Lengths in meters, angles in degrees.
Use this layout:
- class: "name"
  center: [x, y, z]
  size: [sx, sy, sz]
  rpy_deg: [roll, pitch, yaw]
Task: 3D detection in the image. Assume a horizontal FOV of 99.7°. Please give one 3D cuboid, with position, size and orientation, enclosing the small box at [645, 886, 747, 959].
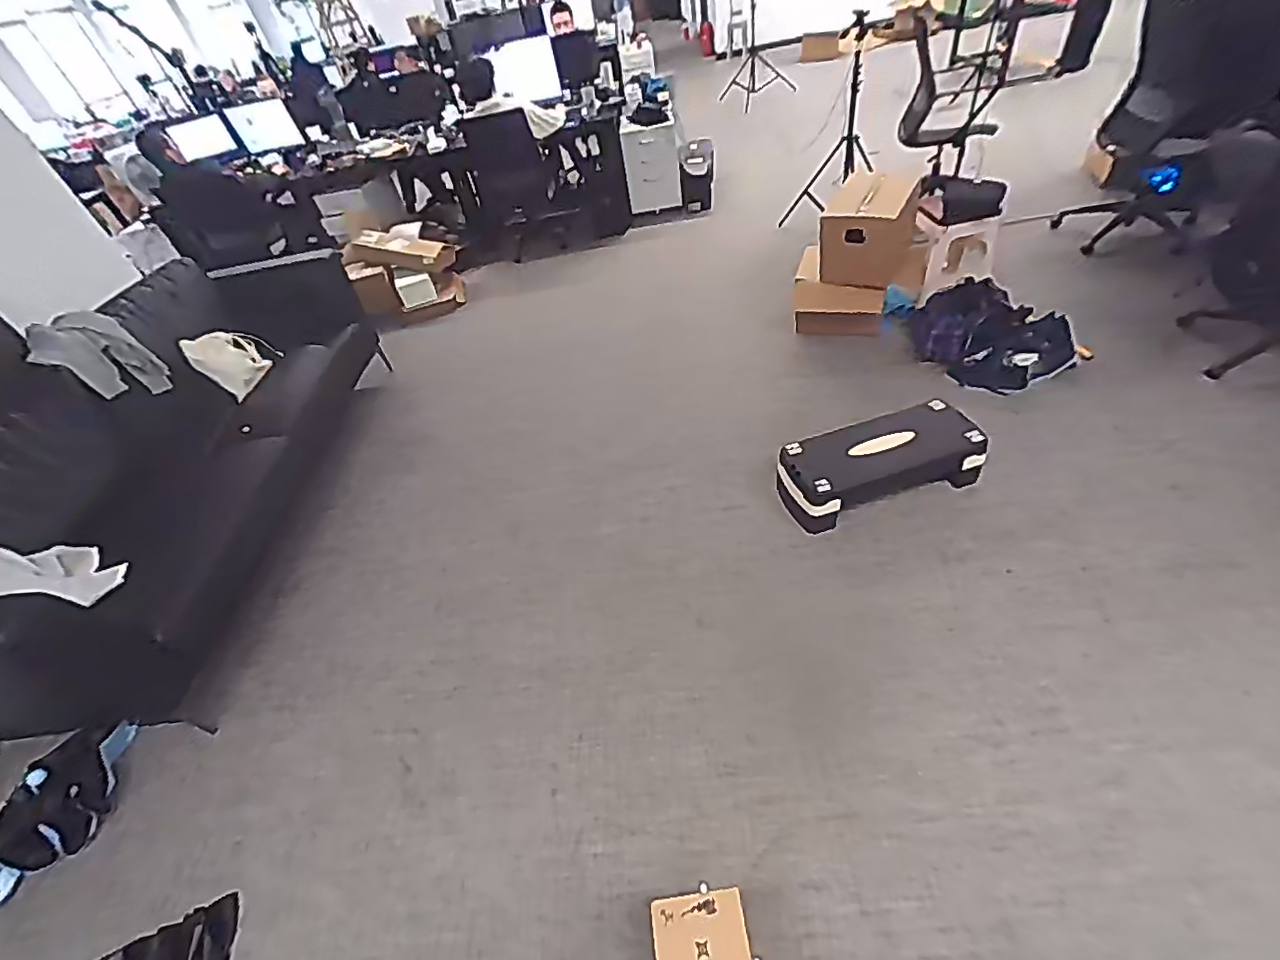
- class: "small box"
  center: [0.111, 0.875, 0.995]
  size: [0.168, 0.176, 0.179]
  rpy_deg: [-11, 45, 2]
